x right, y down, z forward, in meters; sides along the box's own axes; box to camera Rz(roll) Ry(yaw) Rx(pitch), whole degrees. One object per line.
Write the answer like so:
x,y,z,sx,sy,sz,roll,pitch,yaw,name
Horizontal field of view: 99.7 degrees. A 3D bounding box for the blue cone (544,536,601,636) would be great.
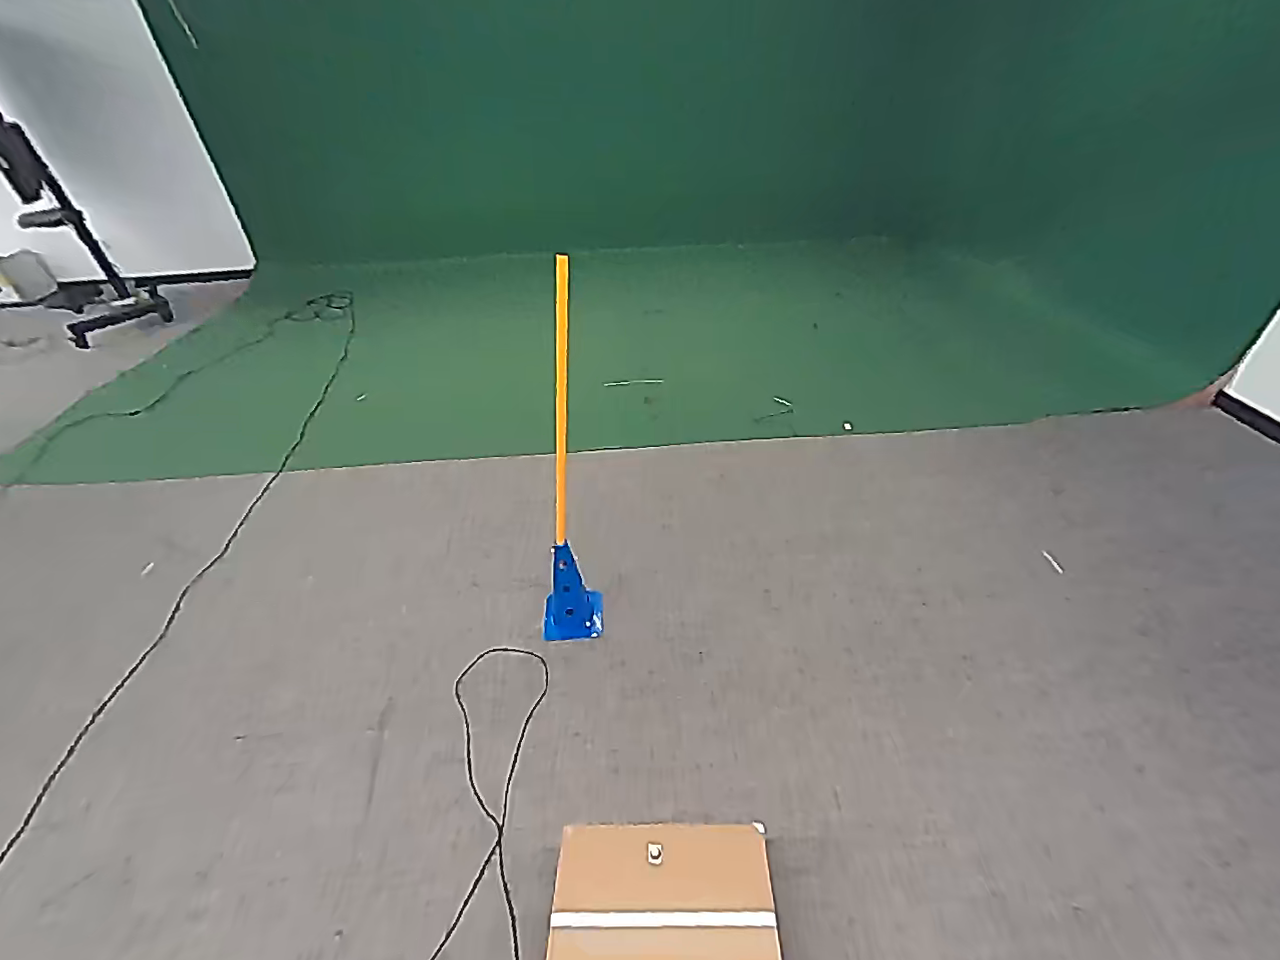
-0.236,0.321,1.755,0.193,0.380,0.192,-4,39,-4,blue cone
